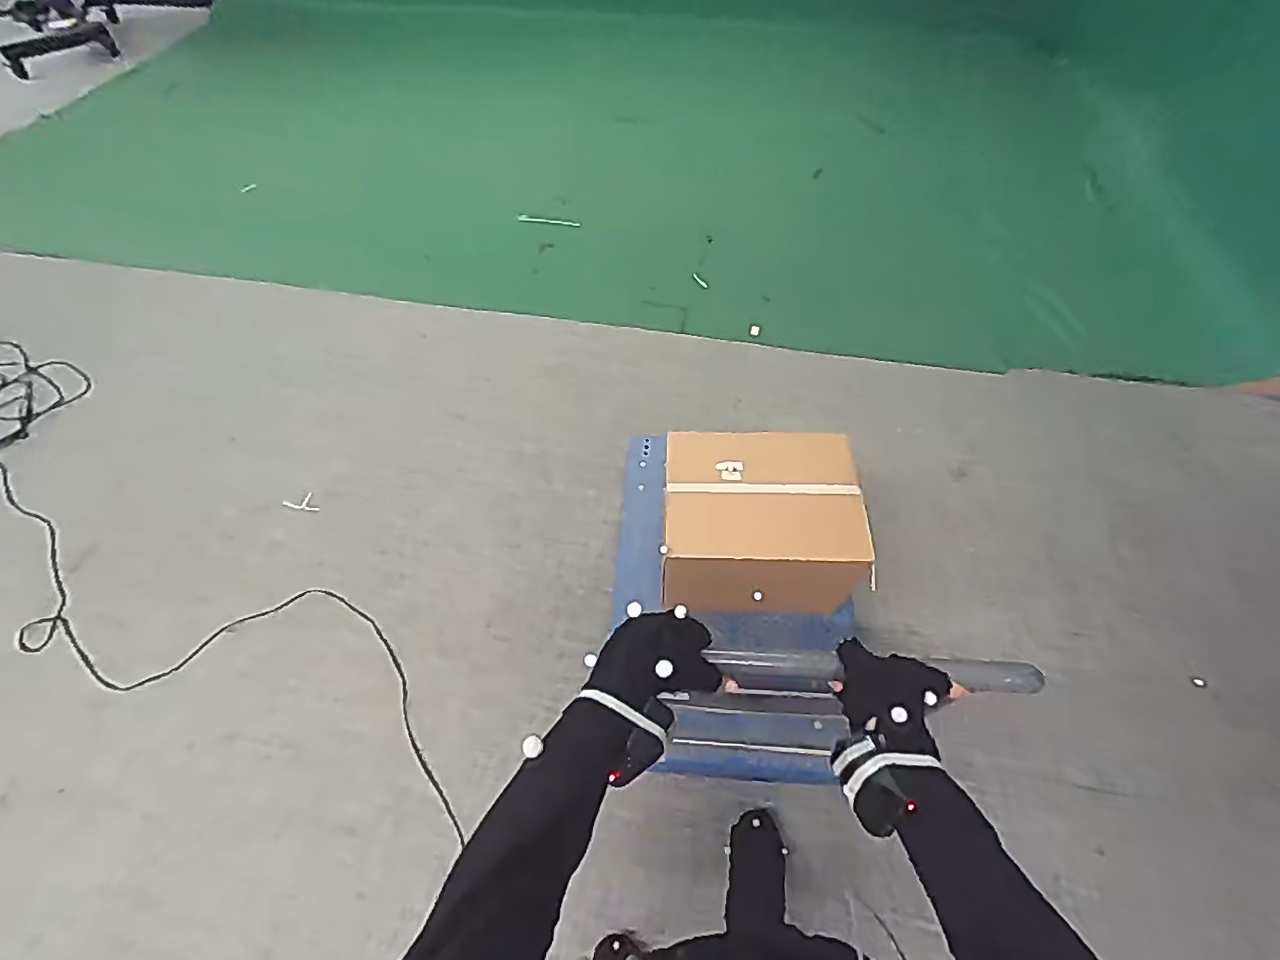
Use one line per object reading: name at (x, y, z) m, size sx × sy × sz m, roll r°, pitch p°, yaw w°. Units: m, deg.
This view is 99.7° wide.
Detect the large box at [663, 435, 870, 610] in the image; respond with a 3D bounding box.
large box at (0.258, 0.108, 1.260) m, size 0.408 × 0.320 × 0.320 m, roll 0°, pitch 56°, yaw 2°
